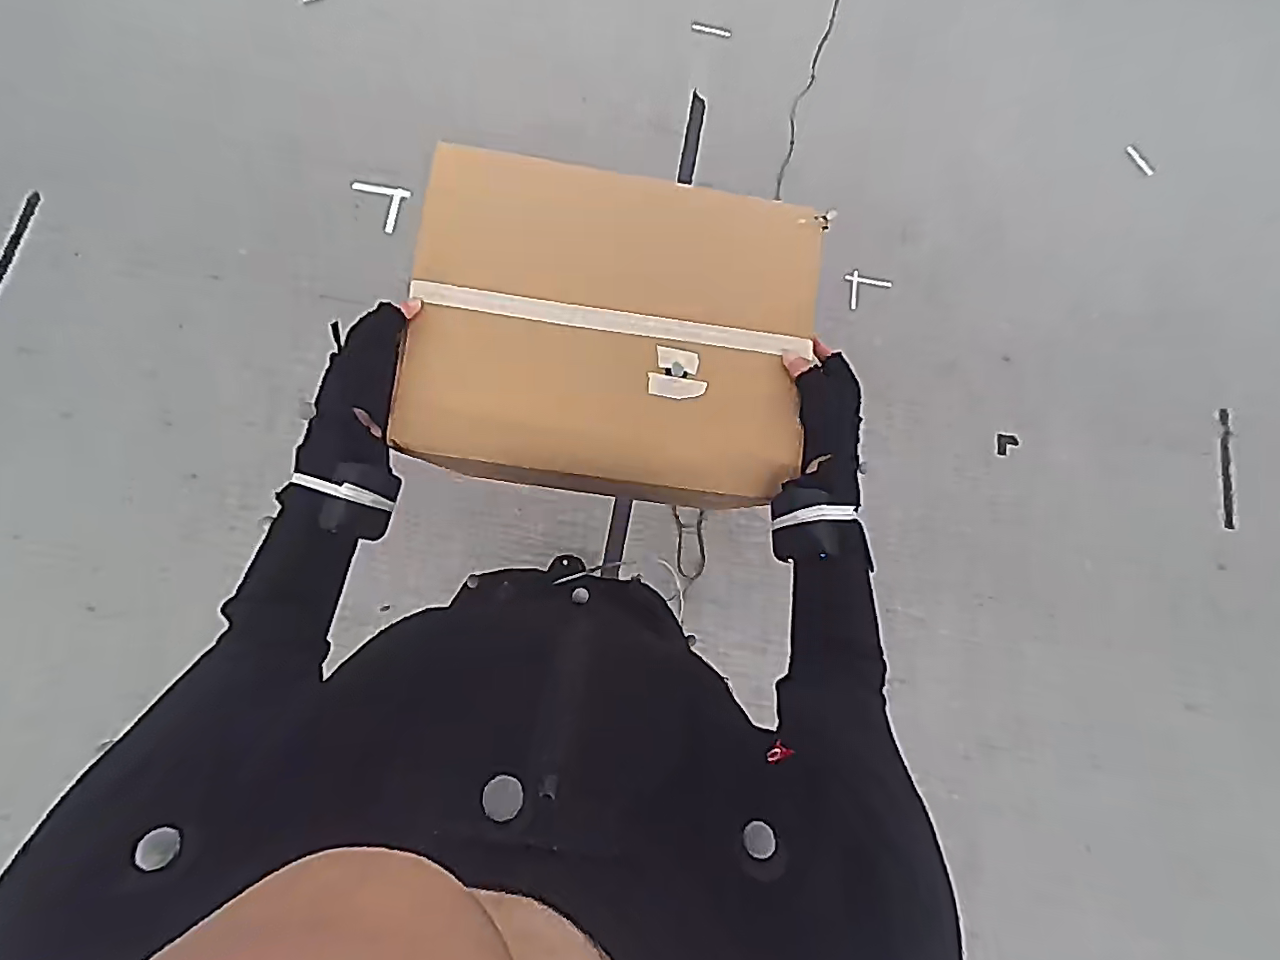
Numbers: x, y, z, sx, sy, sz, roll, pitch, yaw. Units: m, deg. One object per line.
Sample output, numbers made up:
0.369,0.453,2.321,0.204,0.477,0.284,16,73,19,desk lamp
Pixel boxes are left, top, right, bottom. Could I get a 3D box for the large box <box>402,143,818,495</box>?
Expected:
-0.036,-0.161,0.702,0.408,0.320,0.320,8,87,-5,large box
